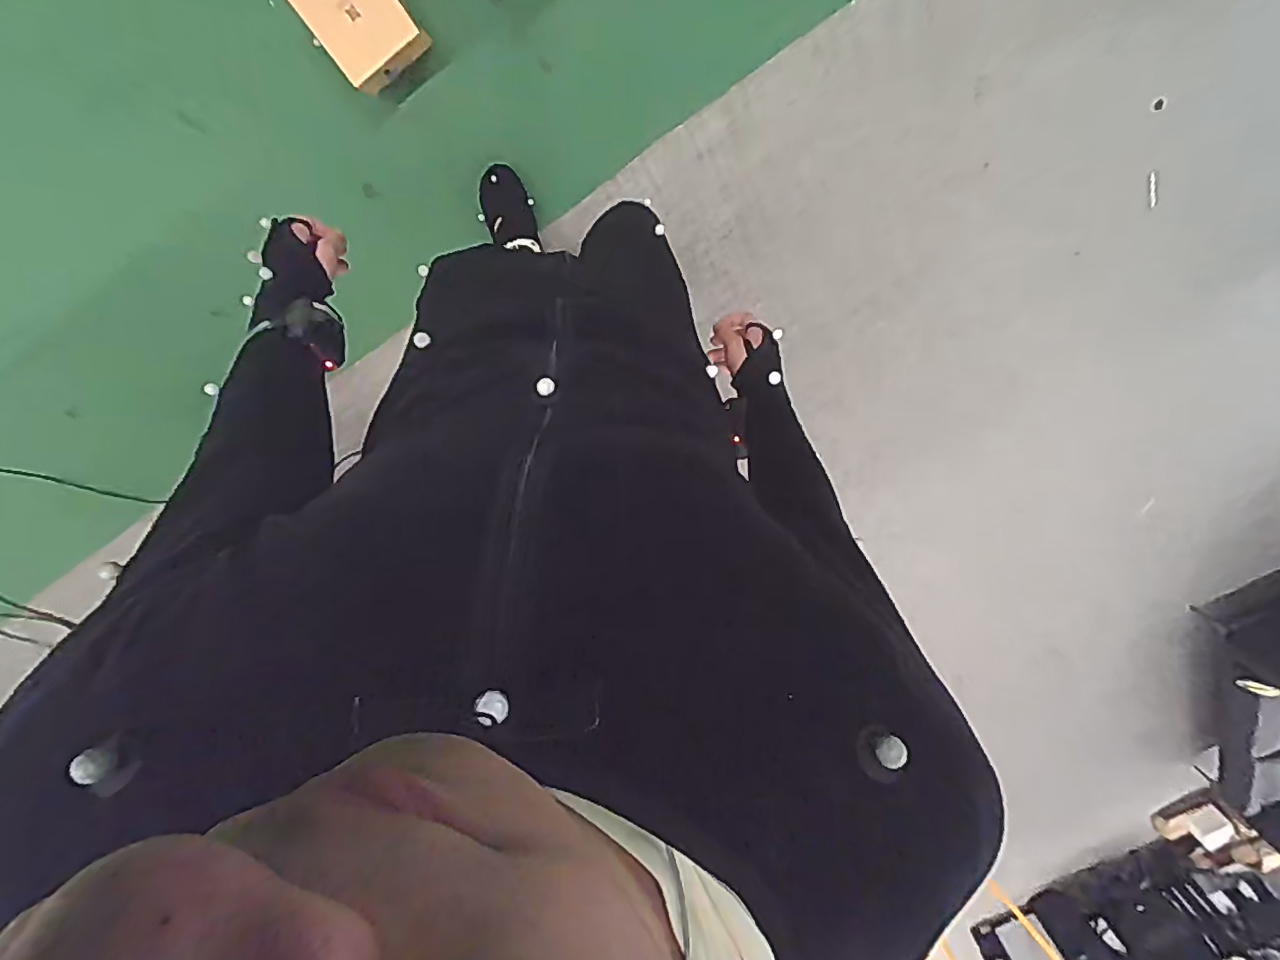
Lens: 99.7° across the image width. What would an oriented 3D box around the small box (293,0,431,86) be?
[{"bbox_3d":[-0.537,-0.907,1.053,0.168,0.176,0.179,-33,121,10],"label":"small box"}]
